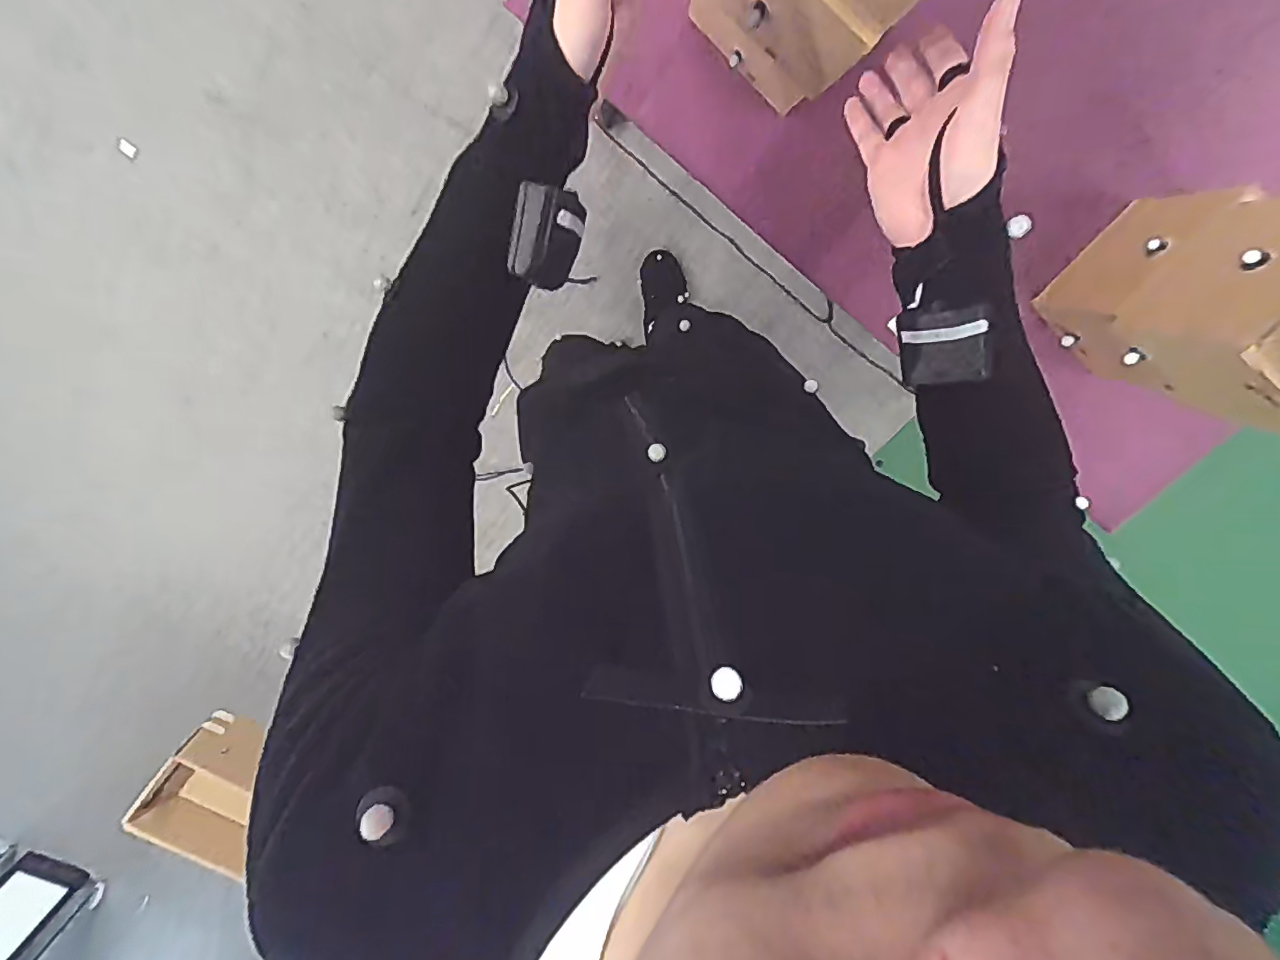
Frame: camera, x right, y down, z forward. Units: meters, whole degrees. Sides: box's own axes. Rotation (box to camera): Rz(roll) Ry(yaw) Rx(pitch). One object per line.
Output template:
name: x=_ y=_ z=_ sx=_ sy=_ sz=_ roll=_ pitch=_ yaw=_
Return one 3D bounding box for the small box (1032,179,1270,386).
small box: x=0.670 y=-0.249 z=0.696 sx=0.168 sy=0.176 sz=0.179 roll=37 pitch=110 yaw=-13

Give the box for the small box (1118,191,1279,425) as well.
small box: x=0.653 y=-0.170 z=0.552 sx=0.168 sy=0.176 sz=0.179 roll=35 pitch=108 yaw=-12

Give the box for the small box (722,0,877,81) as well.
small box: x=0.153 y=-0.467 z=0.429 sx=0.168 sy=0.176 sz=0.179 roll=34 pitch=111 yaw=-14

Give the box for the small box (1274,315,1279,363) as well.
small box: x=0.656 y=-0.114 z=0.400 sx=0.168 sy=0.176 sz=0.179 roll=33 pitch=109 yaw=-11
